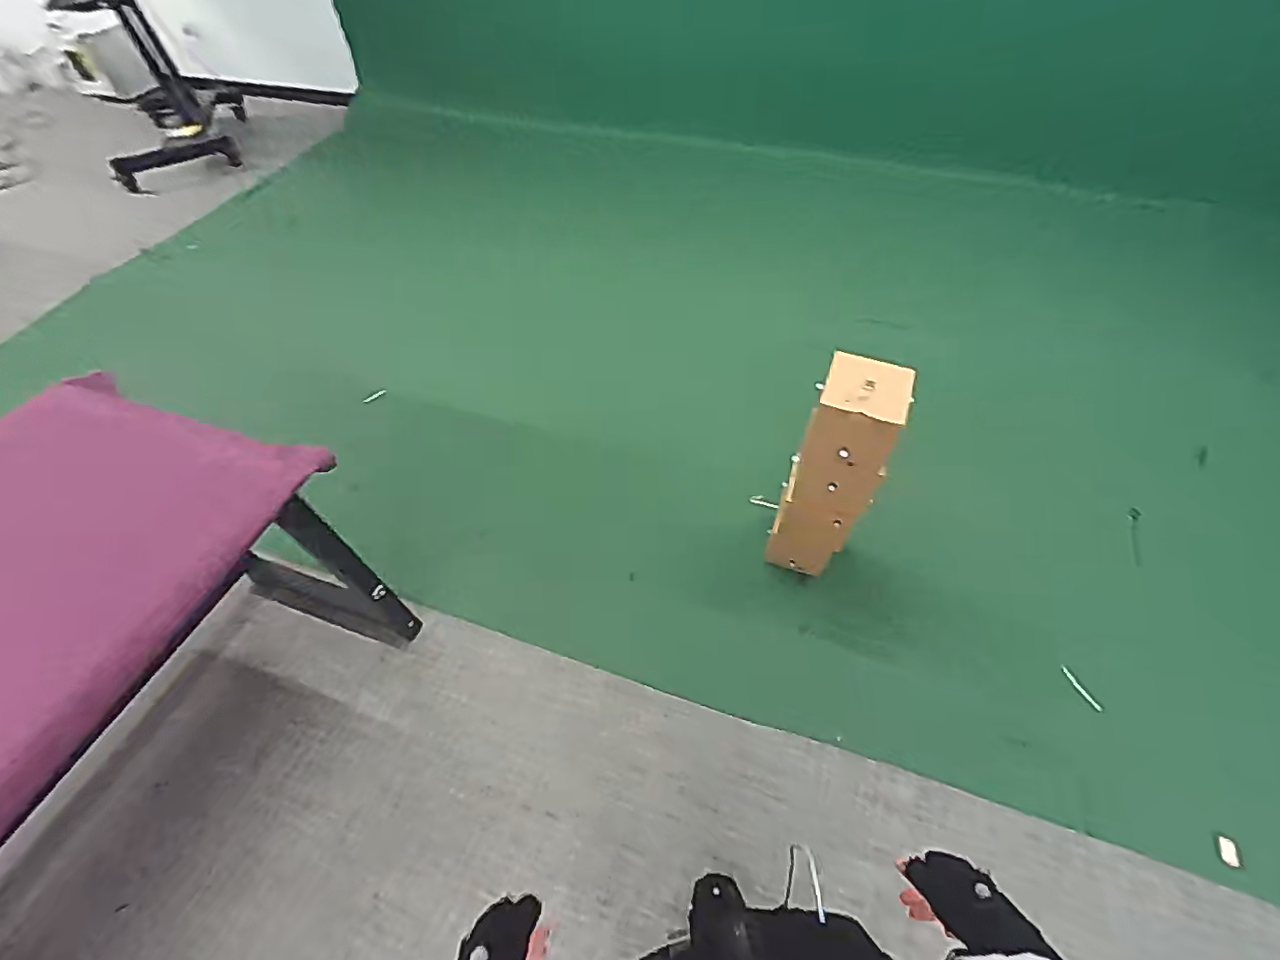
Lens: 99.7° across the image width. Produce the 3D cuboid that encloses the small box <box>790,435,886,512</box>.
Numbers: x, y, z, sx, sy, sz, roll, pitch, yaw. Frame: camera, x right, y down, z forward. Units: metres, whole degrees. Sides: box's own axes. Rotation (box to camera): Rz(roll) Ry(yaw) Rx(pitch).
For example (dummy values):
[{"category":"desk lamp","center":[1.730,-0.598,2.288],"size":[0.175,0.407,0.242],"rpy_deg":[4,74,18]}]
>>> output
[{"category":"small box","center":[0.478,-0.042,1.307],"size":[0.179,0.176,0.168],"rpy_deg":[14,55,12]}]

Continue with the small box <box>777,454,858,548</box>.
[{"category":"small box","center":[0.472,0.060,1.436],"size":[0.179,0.176,0.168],"rpy_deg":[15,56,12]}]

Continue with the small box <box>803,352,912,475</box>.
[{"category":"small box","center":[0.467,-0.143,1.177],"size":[0.168,0.176,0.179],"rpy_deg":[18,57,15]}]
